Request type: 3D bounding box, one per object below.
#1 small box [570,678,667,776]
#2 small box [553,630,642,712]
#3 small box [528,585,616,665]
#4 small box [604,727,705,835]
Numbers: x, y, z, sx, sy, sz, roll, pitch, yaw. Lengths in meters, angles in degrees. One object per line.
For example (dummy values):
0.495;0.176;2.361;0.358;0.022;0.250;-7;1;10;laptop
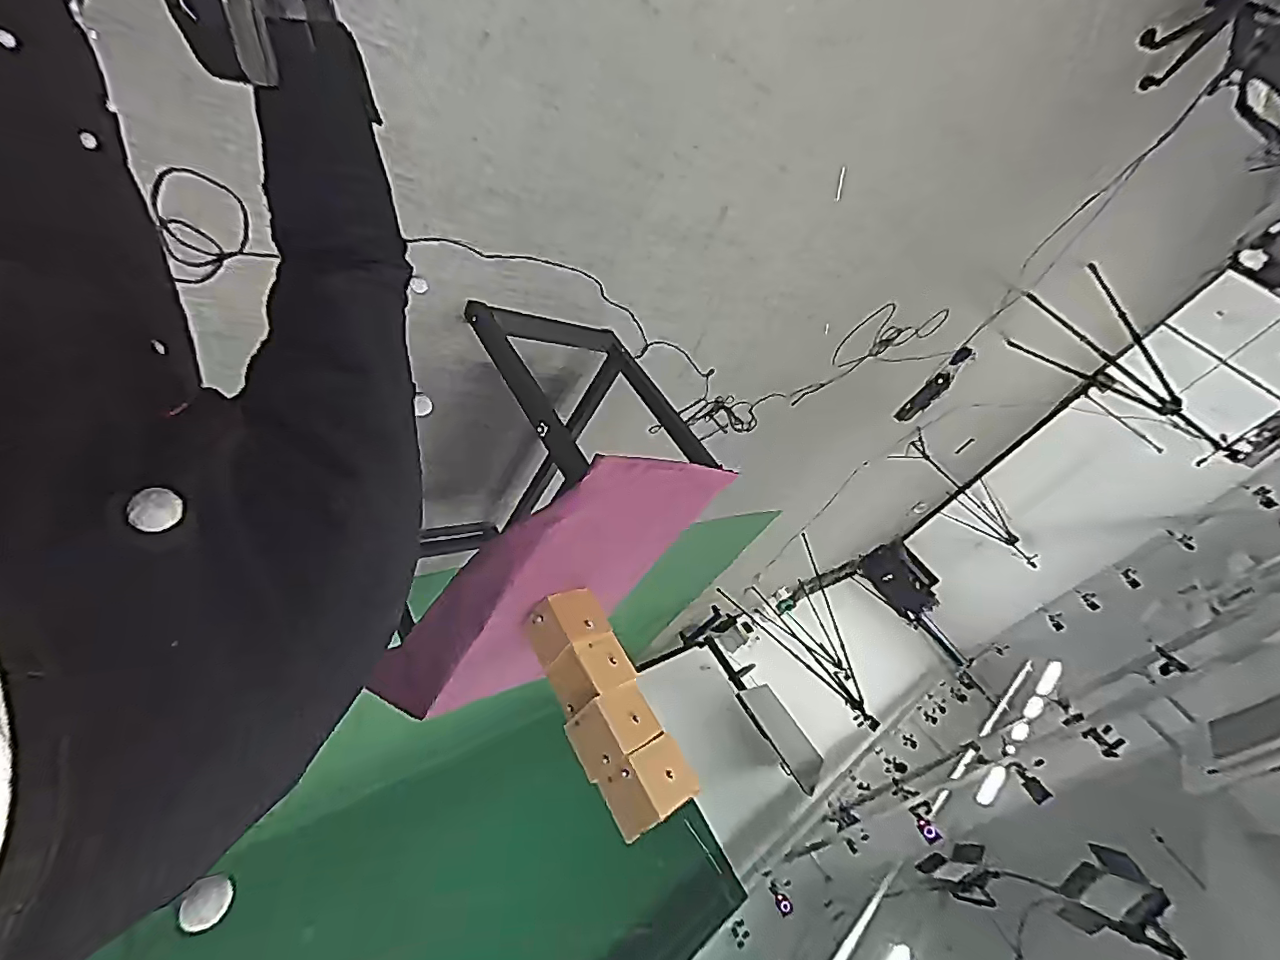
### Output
-0.064;0.687;1.525;0.179;0.176;0.168;0;137;-51;small box
-0.132;0.566;1.614;0.168;0.176;0.179;-1;138;-48;small box
-0.213;0.442;1.681;0.179;0.176;0.168;1;136;-49;small box
0.033;0.806;1.462;0.179;0.176;0.168;-4;141;-48;small box
